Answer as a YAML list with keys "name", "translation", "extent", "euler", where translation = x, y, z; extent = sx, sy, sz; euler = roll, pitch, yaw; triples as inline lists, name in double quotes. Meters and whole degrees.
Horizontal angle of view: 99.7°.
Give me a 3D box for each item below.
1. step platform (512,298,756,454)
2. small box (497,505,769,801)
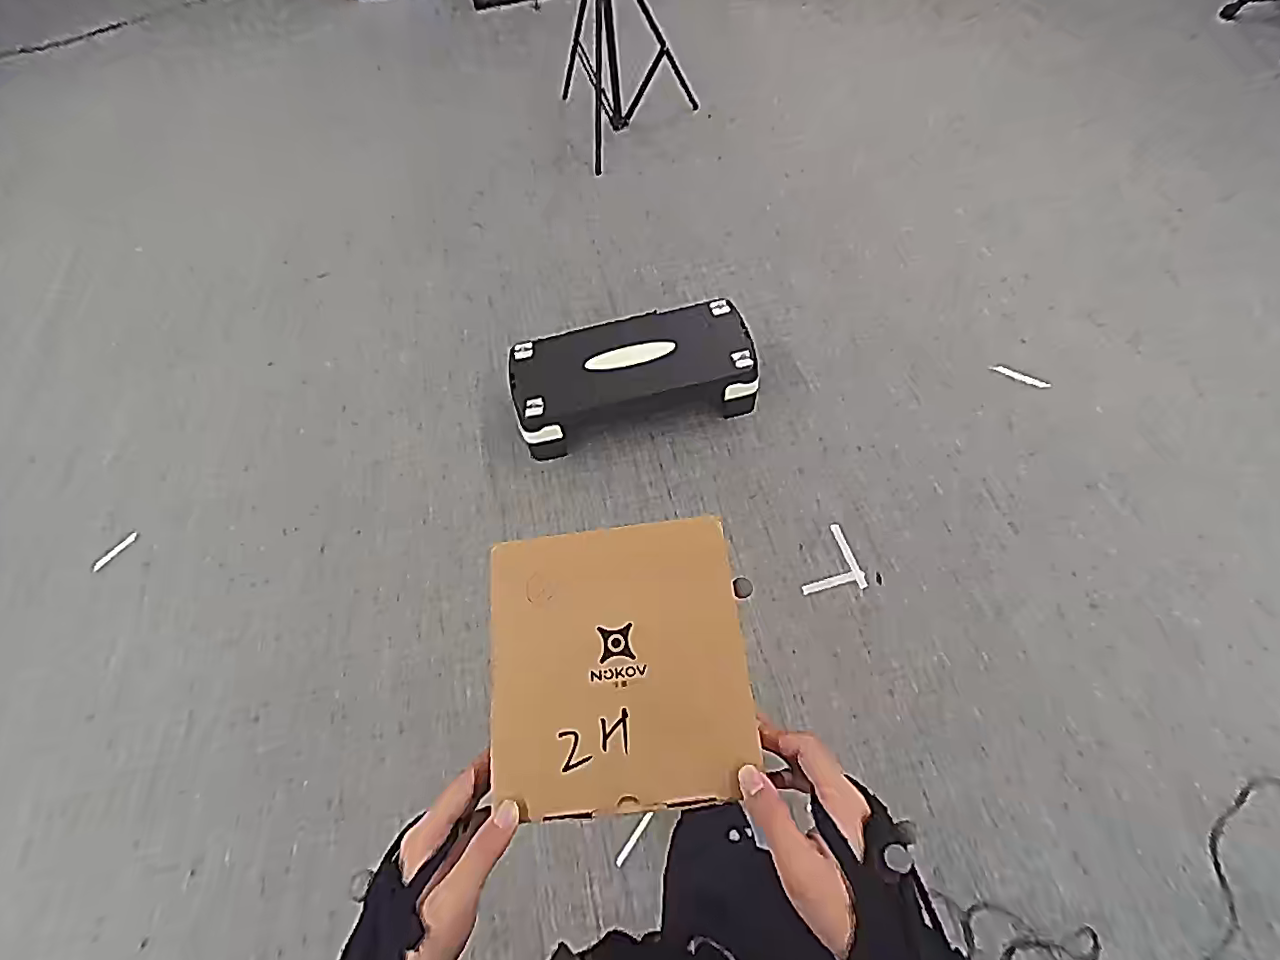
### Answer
- name: "step platform"
  translation: [-0.018, -0.303, 1.559]
  extent: [0.684, 0.204, 0.286]
  euler: [-14, 61, -3]
- name: "small box"
  translation: [-0.005, 0.137, 0.427]
  extent: [0.168, 0.176, 0.179]
  euler: [-7, 67, 3]
